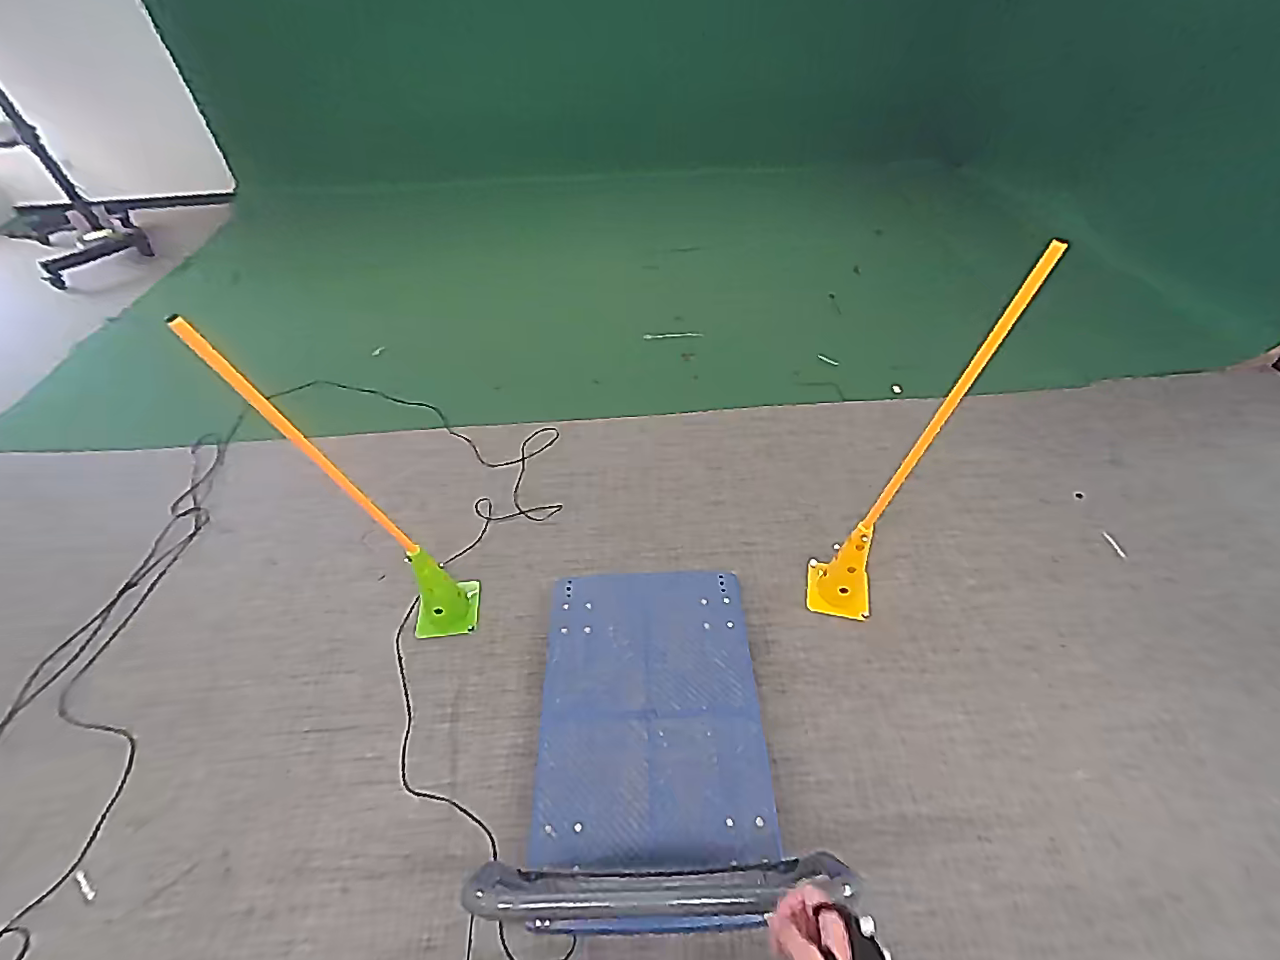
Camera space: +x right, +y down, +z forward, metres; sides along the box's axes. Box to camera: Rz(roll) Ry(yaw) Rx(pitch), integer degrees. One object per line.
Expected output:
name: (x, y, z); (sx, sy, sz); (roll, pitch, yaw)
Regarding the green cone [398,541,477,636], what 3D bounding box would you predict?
green cone: (-0.669, 0.309, 1.708); (0.202, 0.368, 0.200); (-8, 47, -2)
